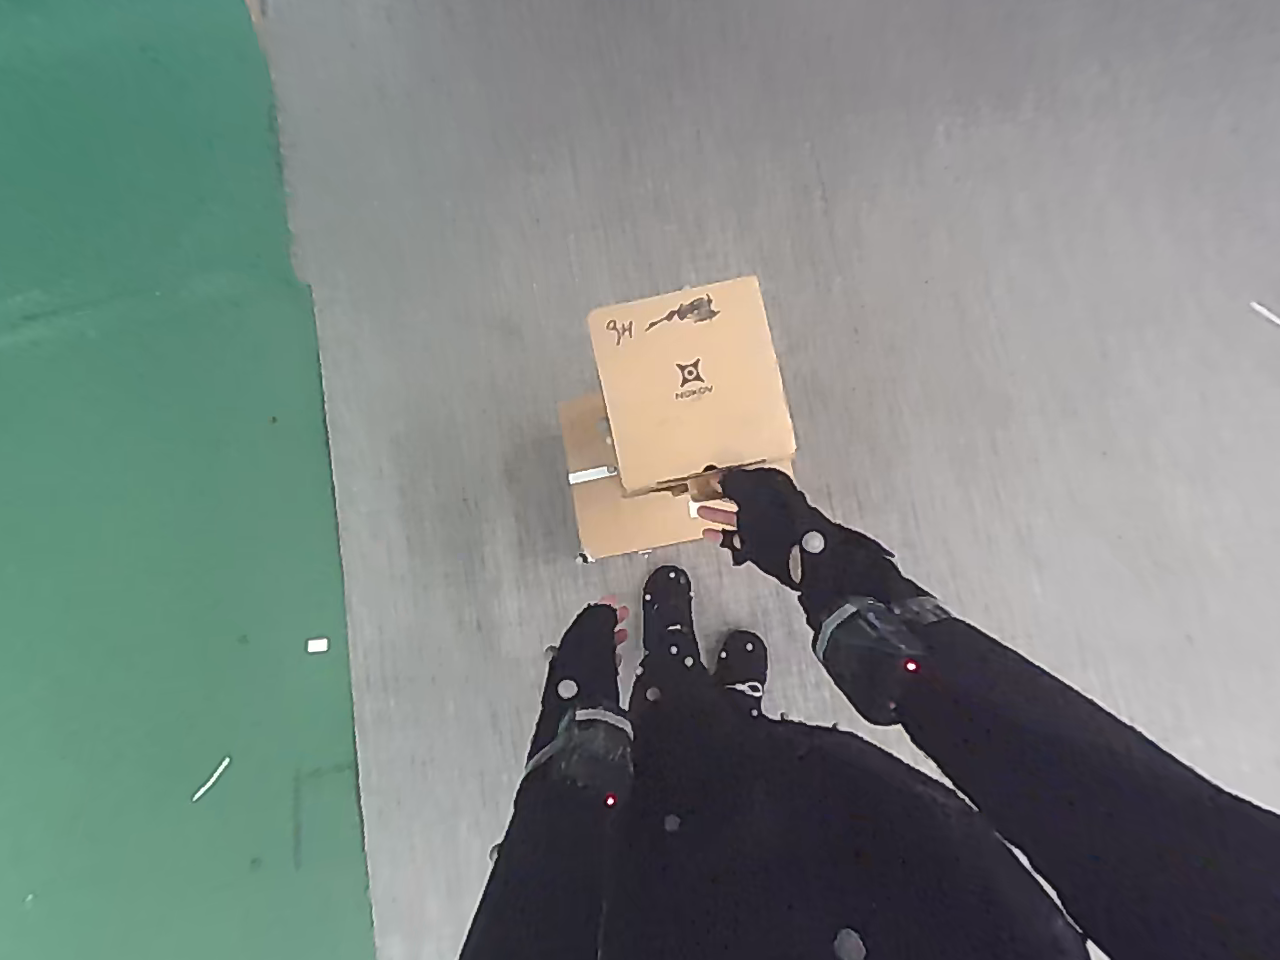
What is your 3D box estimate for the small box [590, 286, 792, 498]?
[{"bbox_3d":[0.049,-0.082,0.589,0.168,0.176,0.179,-12,88,0],"label":"small box"}]
